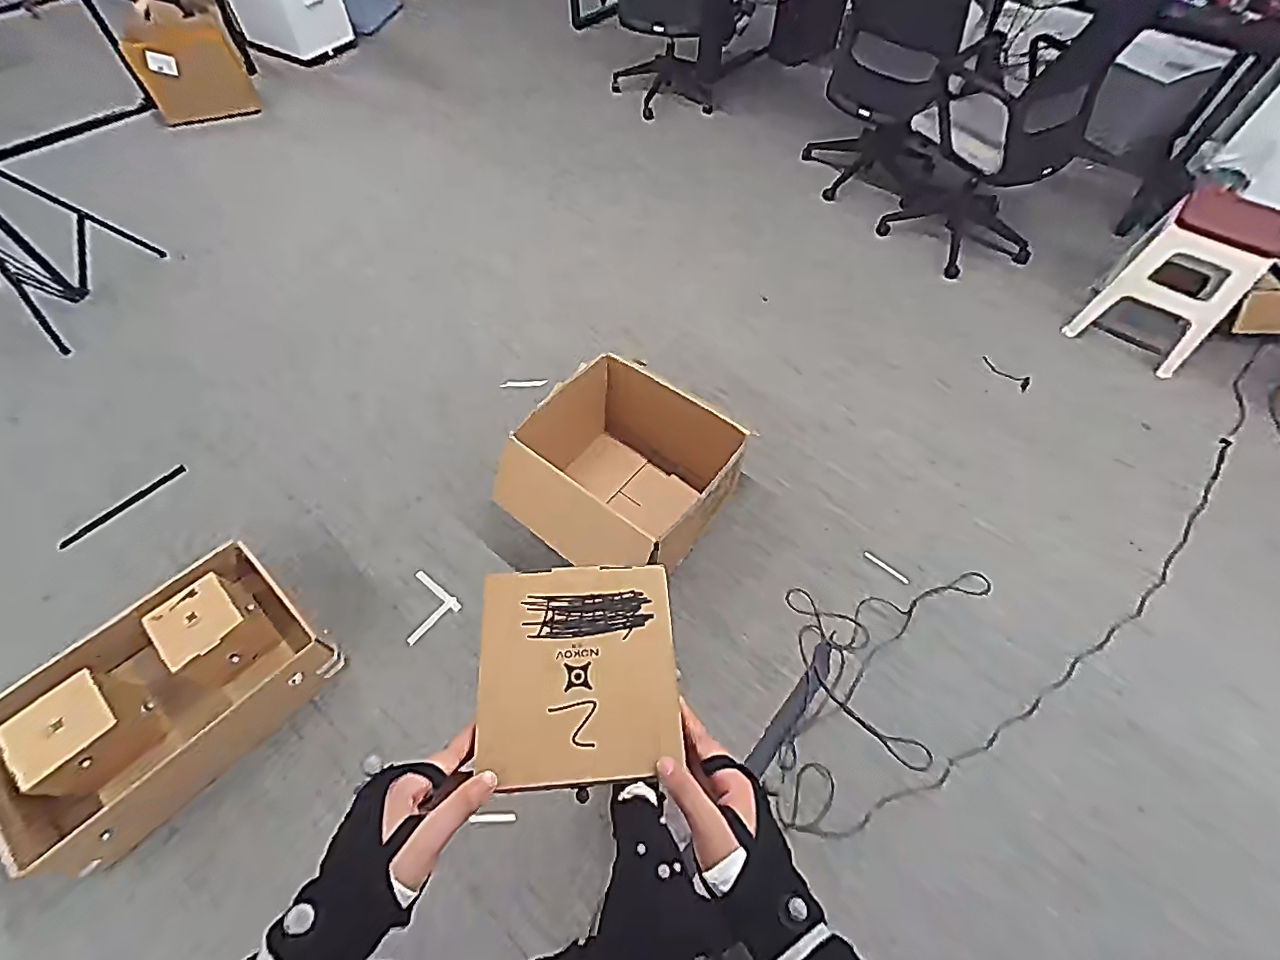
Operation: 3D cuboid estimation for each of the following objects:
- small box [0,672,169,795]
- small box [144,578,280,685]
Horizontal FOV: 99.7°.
[{"bbox_3d":[-1.208,0.562,1.187,0.168,0.176,0.179,38,62,18],"label":"small box"},{"bbox_3d":[-1.025,0.374,1.312,0.179,0.176,0.168,40,66,20],"label":"small box"}]
